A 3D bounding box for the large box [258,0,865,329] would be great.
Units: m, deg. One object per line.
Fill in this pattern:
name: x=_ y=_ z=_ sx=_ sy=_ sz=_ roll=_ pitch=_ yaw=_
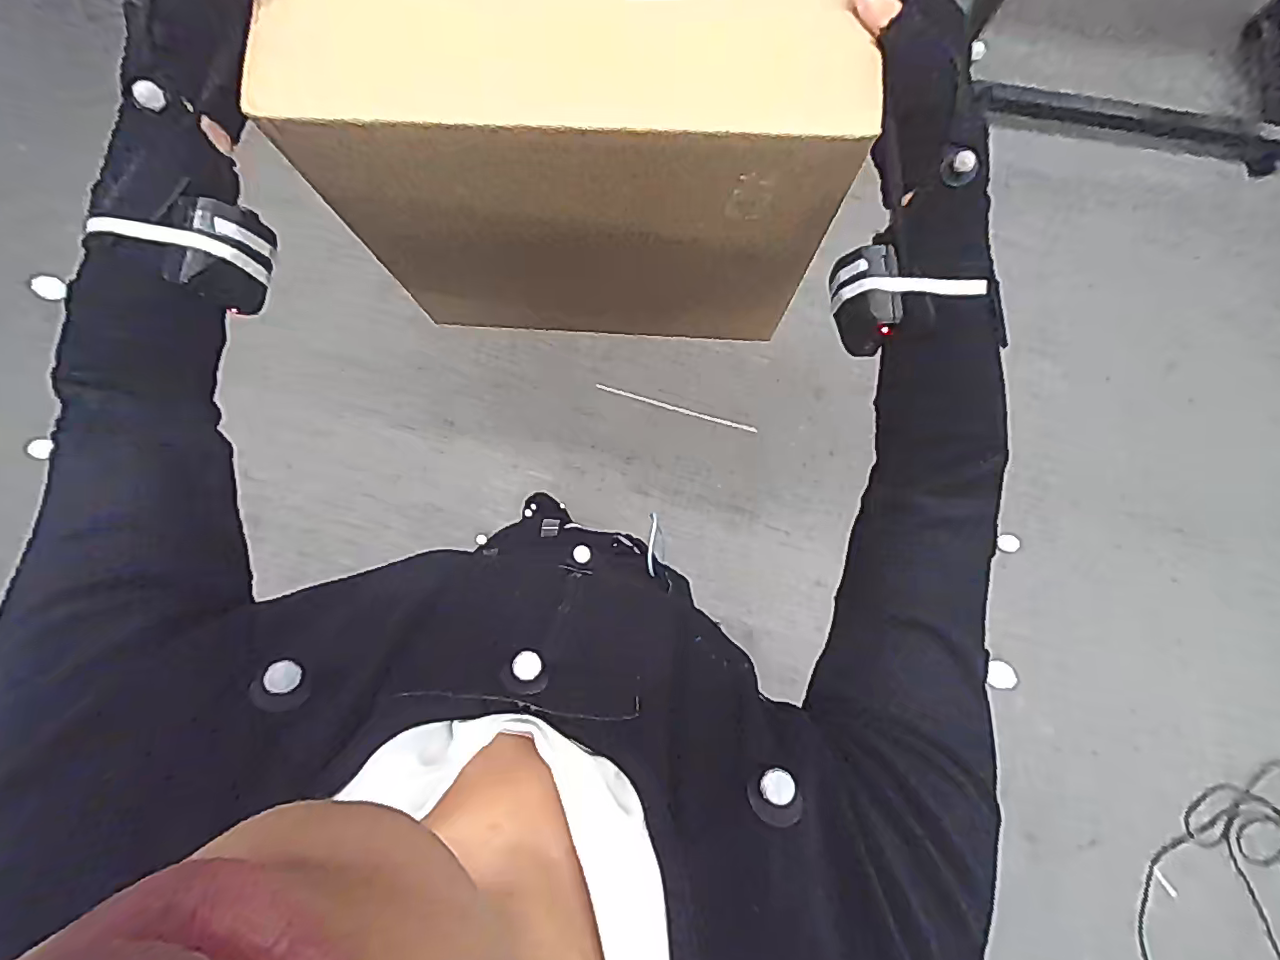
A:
large box: x=-0.048 y=-0.354 z=0.520 sx=0.408 sy=0.320 sz=0.320 roll=2 pitch=82 yaw=1
